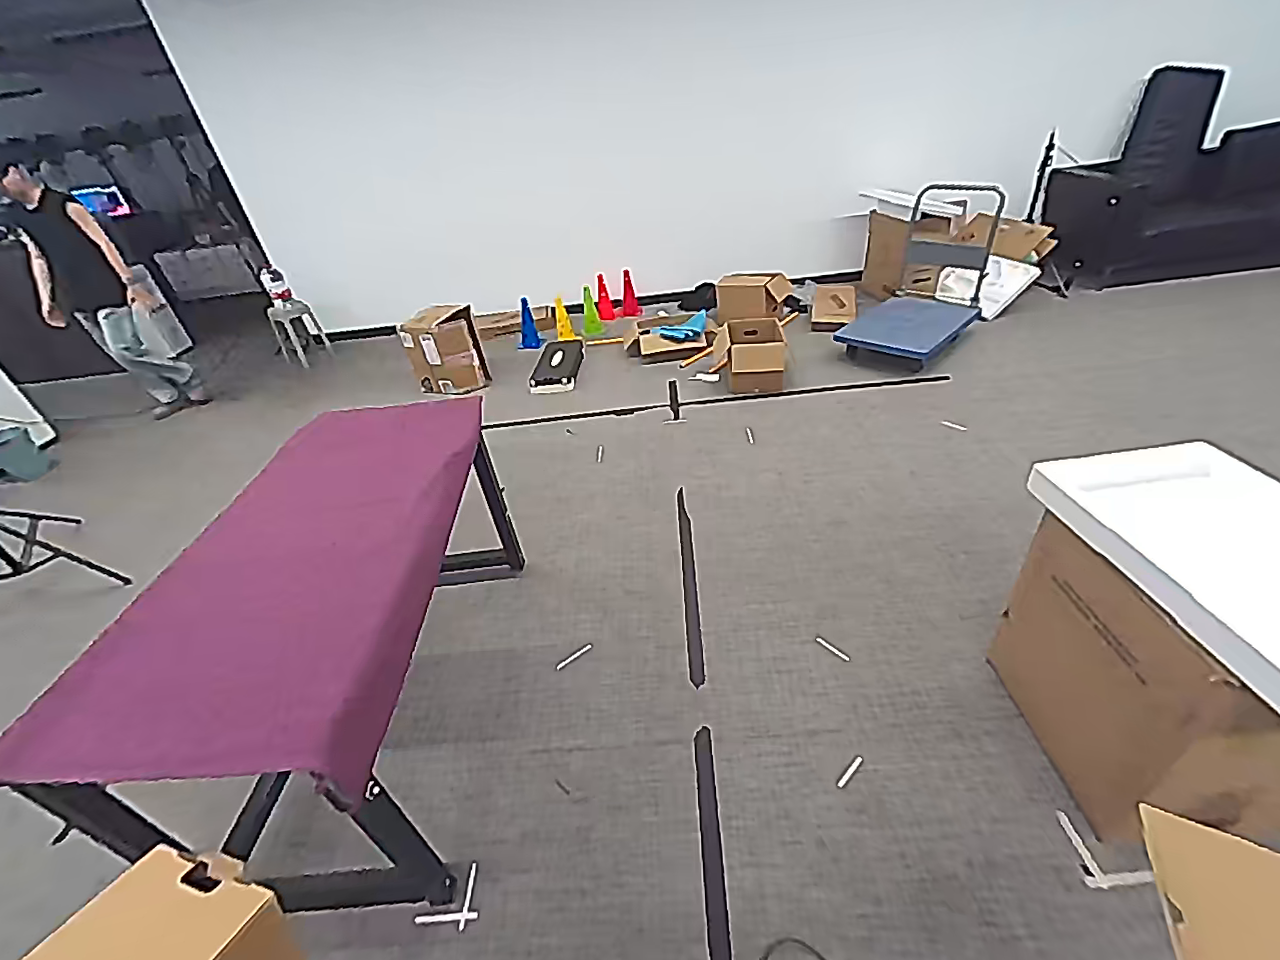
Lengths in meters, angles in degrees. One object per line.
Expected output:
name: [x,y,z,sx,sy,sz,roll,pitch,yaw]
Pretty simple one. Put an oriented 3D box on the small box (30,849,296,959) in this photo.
small box: [-0.430,0.483,0.473,0.168,0.176,0.179,4,21,19]
